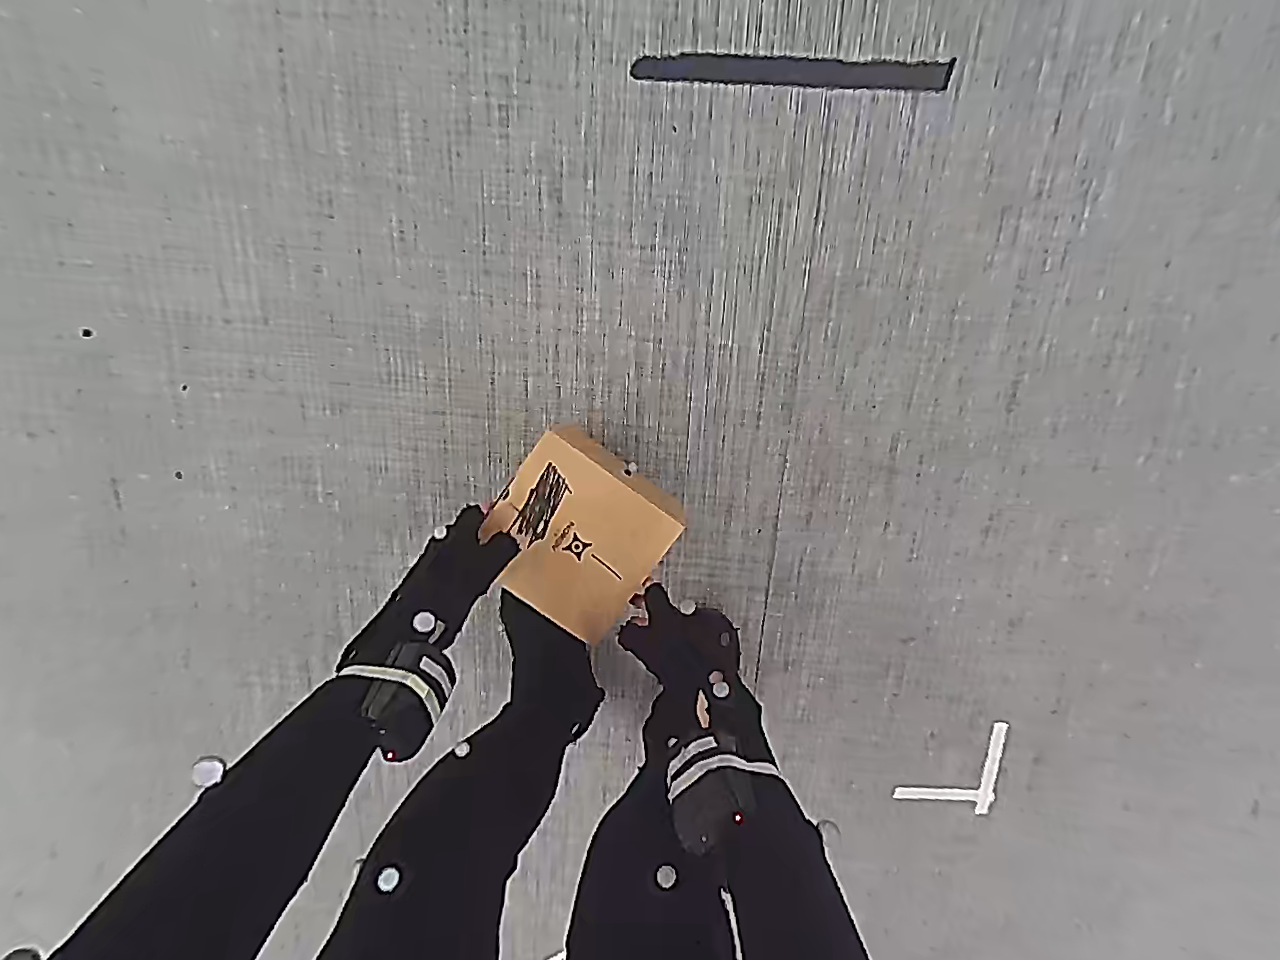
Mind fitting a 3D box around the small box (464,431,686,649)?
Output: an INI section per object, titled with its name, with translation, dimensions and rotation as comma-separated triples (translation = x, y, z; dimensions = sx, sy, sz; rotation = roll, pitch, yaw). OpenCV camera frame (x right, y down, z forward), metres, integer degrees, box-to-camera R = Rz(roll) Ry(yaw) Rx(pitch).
[small box]
translation = -0.068, 0.059, 0.637
dimensions = 0.179, 0.176, 0.168
rotation = 35, 95, -3
